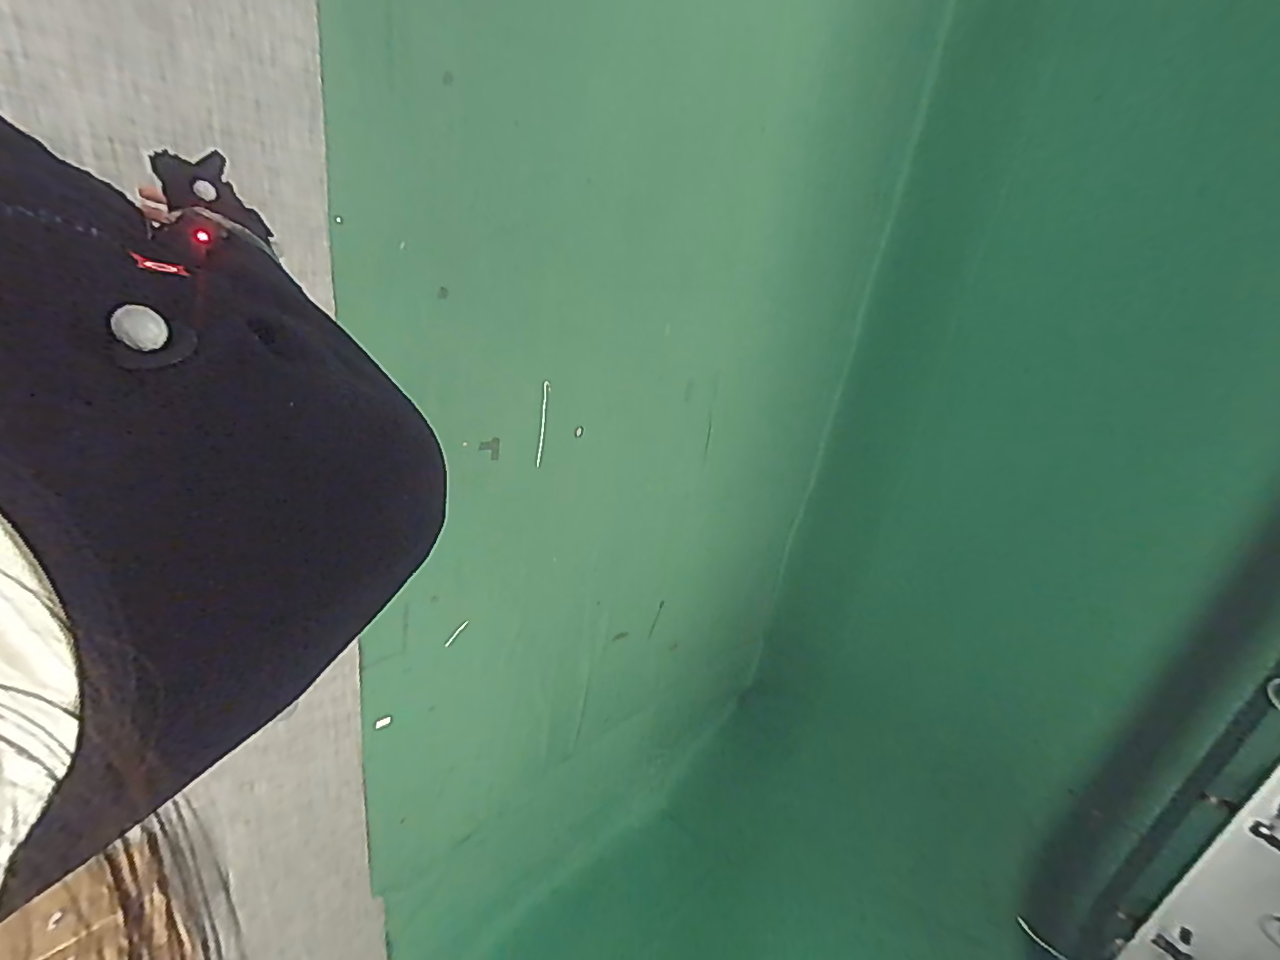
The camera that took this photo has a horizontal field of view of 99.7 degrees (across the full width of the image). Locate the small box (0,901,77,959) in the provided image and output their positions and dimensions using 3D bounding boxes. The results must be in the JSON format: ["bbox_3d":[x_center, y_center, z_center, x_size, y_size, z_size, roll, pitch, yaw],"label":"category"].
[{"bbox_3d":[-1.454,1.153,1.261,0.179,0.176,0.168,-19,127,-45],"label":"small box"}]
